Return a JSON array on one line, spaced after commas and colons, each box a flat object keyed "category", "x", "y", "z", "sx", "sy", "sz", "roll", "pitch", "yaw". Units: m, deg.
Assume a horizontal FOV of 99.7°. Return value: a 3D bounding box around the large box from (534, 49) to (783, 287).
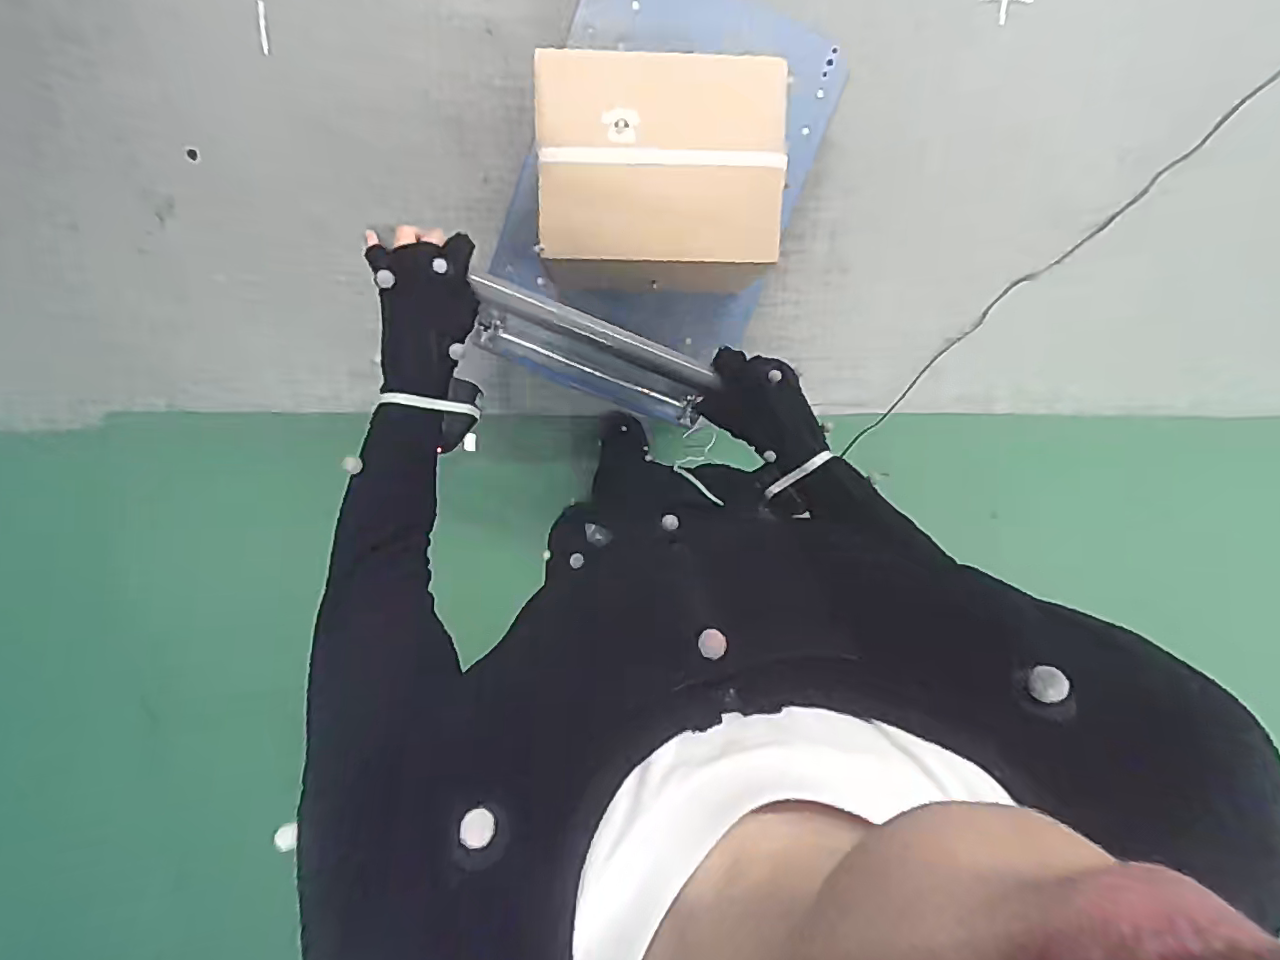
[{"category": "large box", "x": 0.025, "y": -0.550, "z": 1.024, "sx": 0.408, "sy": 0.320, "sz": 0.320, "roll": 1, "pitch": 100, "yaw": -2}]
